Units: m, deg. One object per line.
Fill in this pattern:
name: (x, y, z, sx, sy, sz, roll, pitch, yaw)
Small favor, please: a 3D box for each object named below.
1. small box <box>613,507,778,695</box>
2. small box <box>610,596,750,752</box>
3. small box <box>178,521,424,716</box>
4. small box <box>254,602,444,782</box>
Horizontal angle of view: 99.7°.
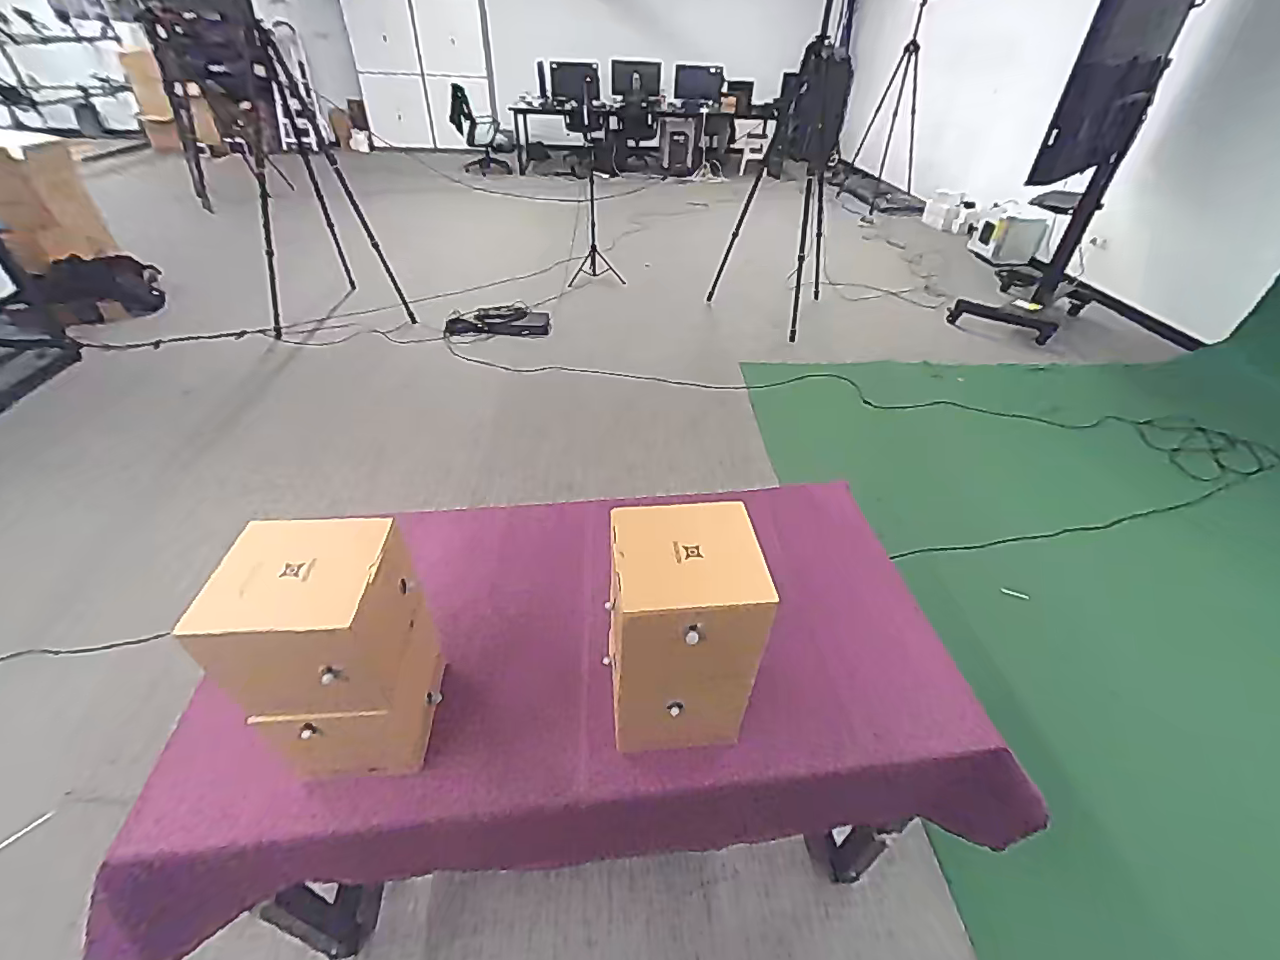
small box: (0.056, 0.153, 0.689, 0.179, 0.176, 0.168, -3, 40, -5)
small box: (0.049, 0.279, 0.793, 0.179, 0.176, 0.168, -2, 40, -5)
small box: (-0.381, 0.167, 0.655, 0.179, 0.176, 0.168, -1, 39, -3)
small box: (-0.386, 0.294, 0.759, 0.168, 0.176, 0.179, -2, 39, -4)
